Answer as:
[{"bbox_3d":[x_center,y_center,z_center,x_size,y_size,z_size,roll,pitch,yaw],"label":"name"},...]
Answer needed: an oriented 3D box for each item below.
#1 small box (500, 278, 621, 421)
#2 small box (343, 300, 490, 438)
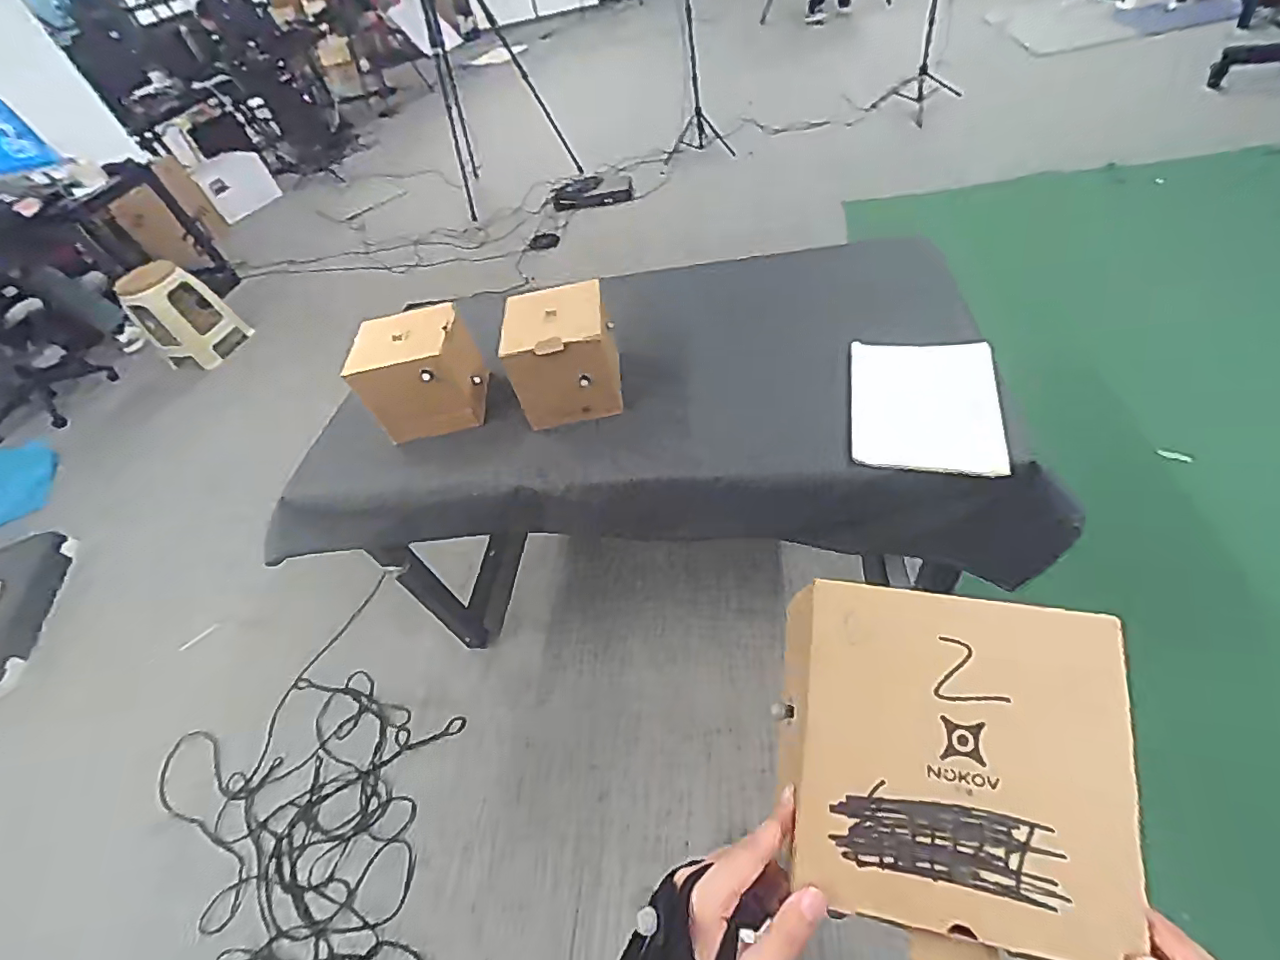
[{"bbox_3d":[-0.130,-0.220,0.945,0.168,0.176,0.179,-10,47,4],"label":"small box"},{"bbox_3d":[-0.397,-0.198,0.992,0.179,0.176,0.168,-12,48,3],"label":"small box"}]
